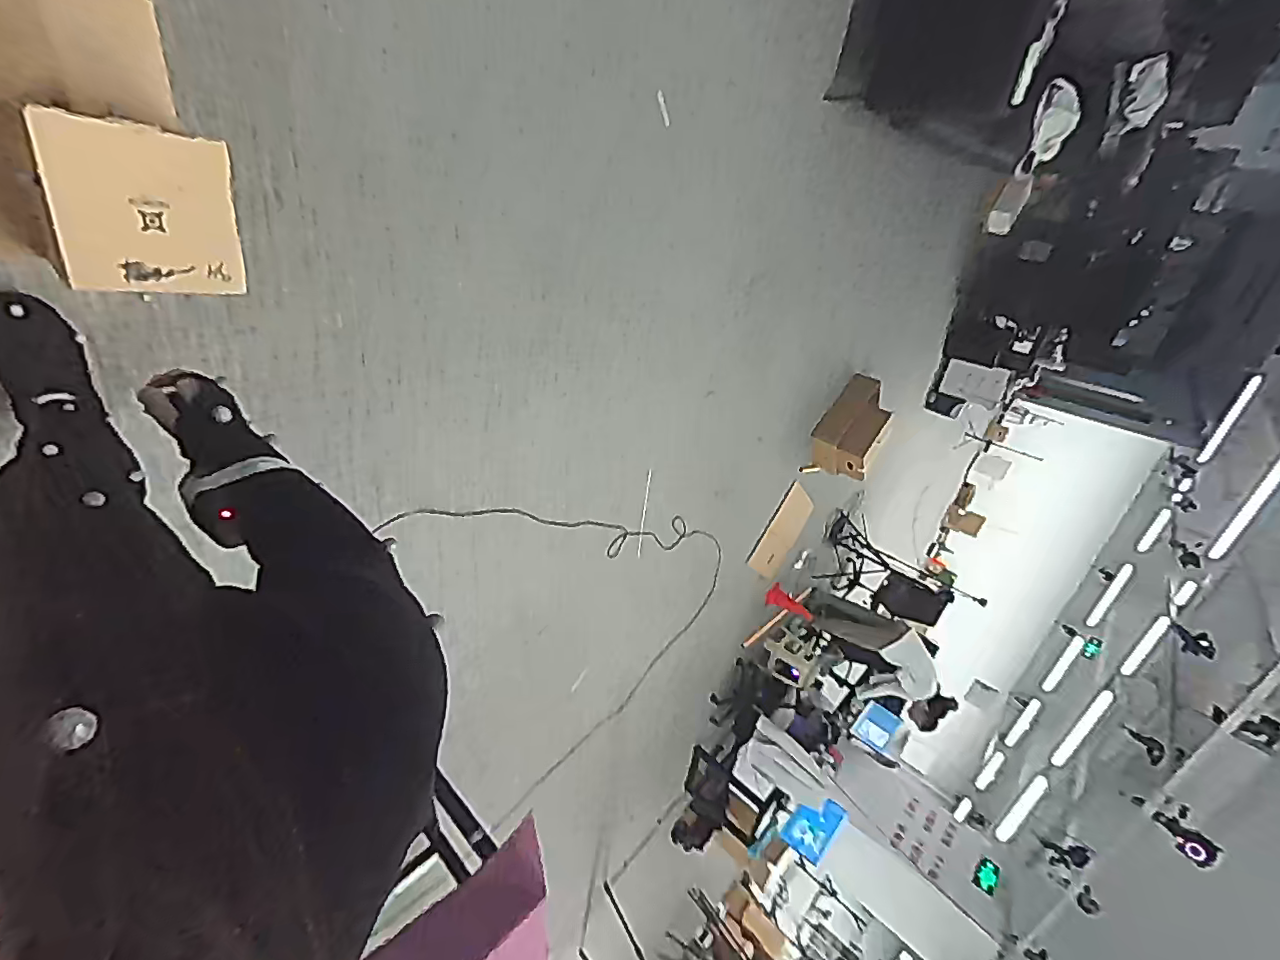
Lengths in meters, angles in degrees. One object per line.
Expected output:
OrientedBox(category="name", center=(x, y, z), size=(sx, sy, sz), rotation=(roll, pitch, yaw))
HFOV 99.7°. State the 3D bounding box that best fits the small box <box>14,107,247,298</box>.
OrientedBox(category="small box", center=(-0.613, -0.328, 0.658), size=(0.168, 0.176, 0.179), rotation=(-18, 125, -46))
